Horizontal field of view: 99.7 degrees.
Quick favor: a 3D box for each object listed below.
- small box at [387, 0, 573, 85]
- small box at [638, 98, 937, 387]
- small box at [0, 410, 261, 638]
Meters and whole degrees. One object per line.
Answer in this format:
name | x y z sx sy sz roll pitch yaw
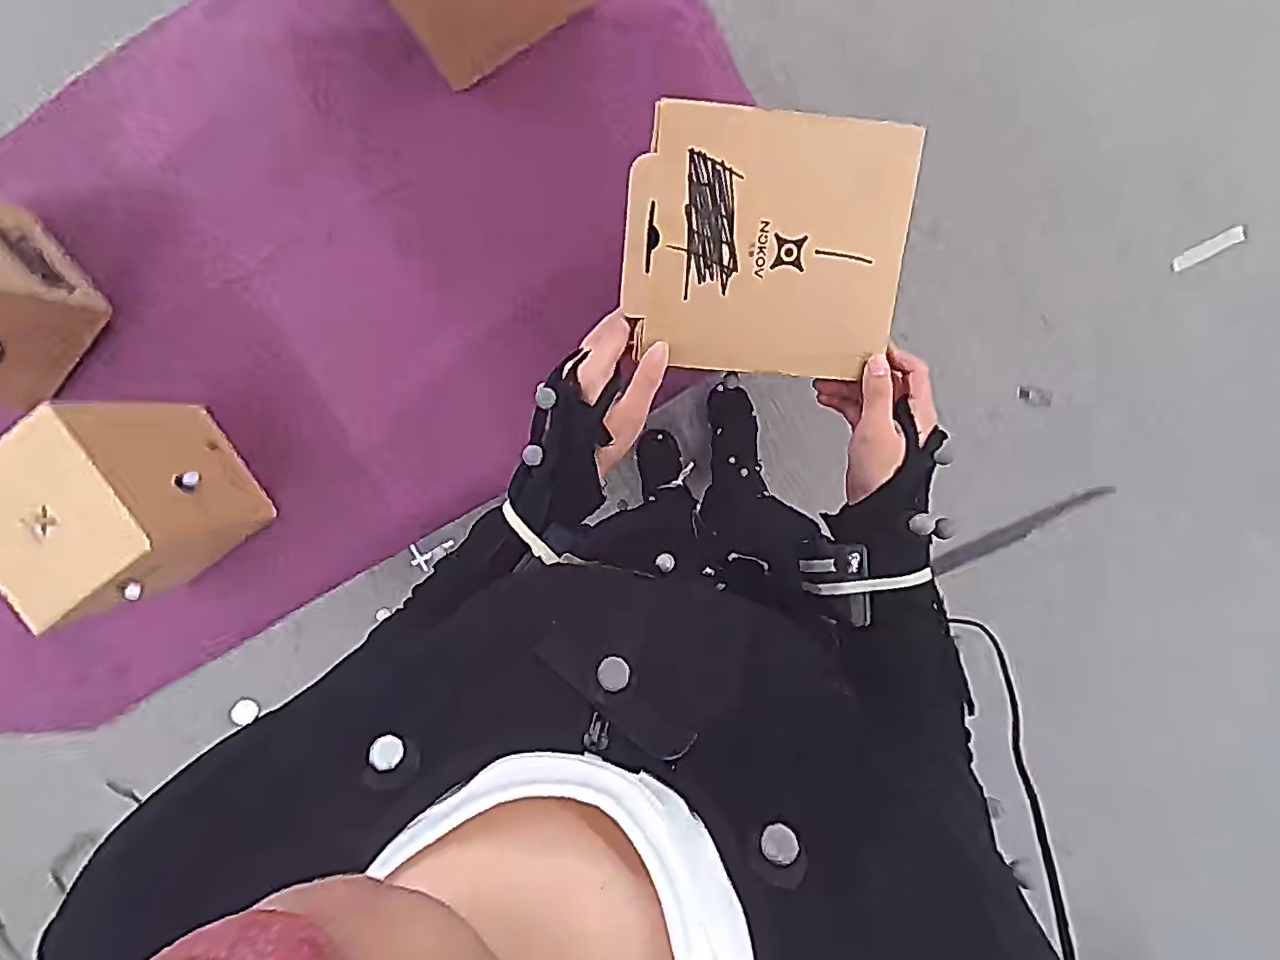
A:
small box | -0.168 -0.514 0.482 0.179 0.176 0.168 -28 96 8
small box | 0.093 -0.170 0.434 0.179 0.176 0.168 5 104 -4
small box | -0.569 0.034 0.597 0.179 0.176 0.168 -34 94 8
